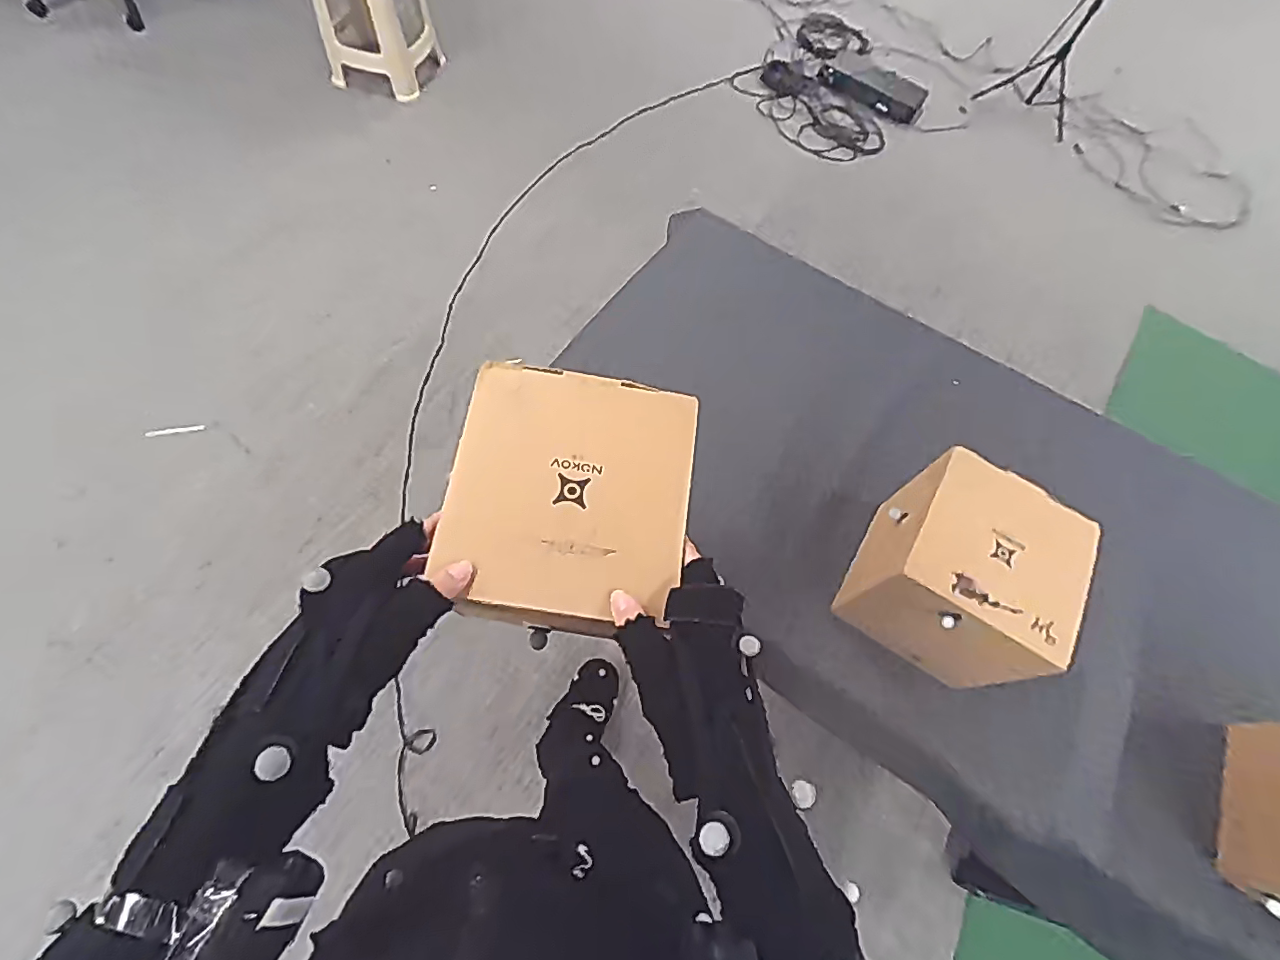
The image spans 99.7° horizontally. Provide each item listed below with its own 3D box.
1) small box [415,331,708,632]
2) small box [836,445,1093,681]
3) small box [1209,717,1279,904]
[{"bbox_3d":[-0.053,0.015,0.434,0.168,0.176,0.179,11,70,-2],"label":"small box"},{"bbox_3d":[0.350,0.100,0.609,0.168,0.176,0.179,32,64,9],"label":"small box"},{"bbox_3d":[0.724,0.355,0.529,0.168,0.176,0.179,33,63,10],"label":"small box"}]
